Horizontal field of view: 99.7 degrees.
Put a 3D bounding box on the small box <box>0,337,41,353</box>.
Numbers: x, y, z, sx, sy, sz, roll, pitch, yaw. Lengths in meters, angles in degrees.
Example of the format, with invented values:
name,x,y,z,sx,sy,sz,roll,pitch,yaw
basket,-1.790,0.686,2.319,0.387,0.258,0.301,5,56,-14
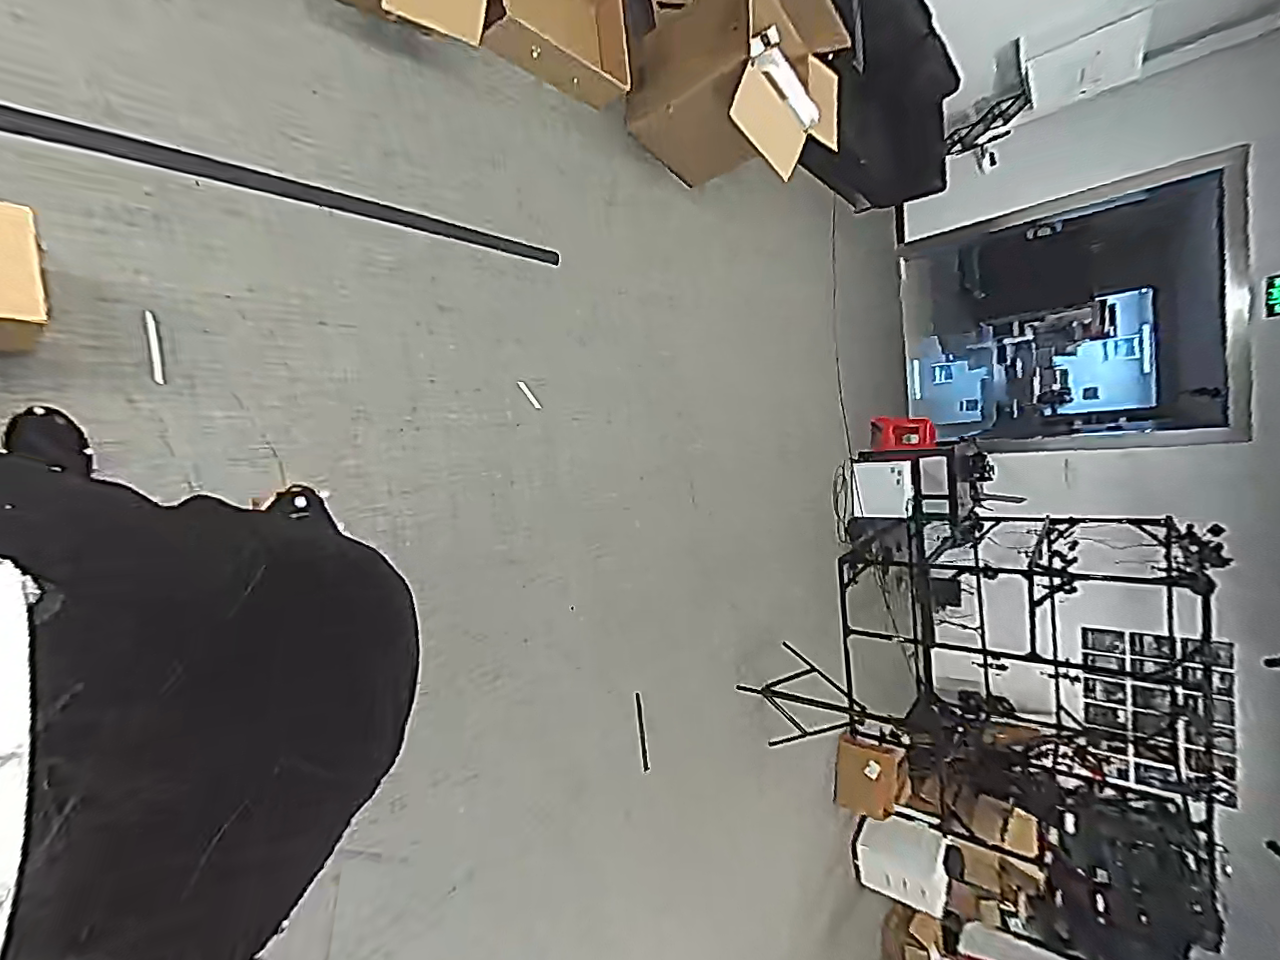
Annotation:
name,x,y,z,sx,sy,sz,roll,pitch,yaw
small box,-1.152,-0.318,0.919,0.168,0.176,0.179,-11,97,-50

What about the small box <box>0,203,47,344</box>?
name,x,y,z,sx,sy,sz,roll,pitch,yaw
small box,-1.026,-0.315,0.810,0.168,0.176,0.179,-8,95,-50
